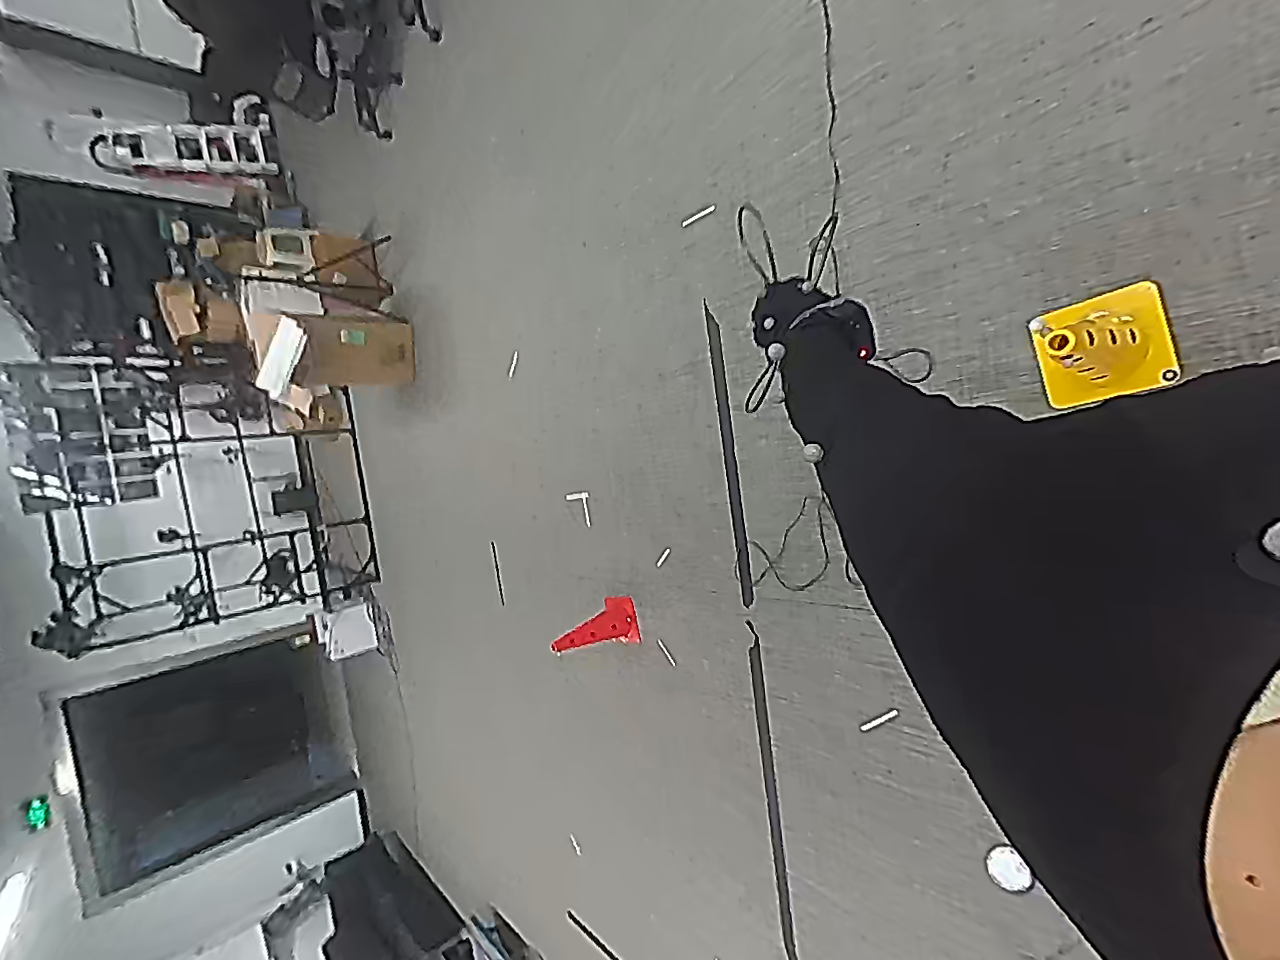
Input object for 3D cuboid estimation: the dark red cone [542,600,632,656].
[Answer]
[{"bbox_3d":[-0.228,0.637,2.214,0.201,0.394,0.202,-16,86,48],"label":"dark red cone"}]
